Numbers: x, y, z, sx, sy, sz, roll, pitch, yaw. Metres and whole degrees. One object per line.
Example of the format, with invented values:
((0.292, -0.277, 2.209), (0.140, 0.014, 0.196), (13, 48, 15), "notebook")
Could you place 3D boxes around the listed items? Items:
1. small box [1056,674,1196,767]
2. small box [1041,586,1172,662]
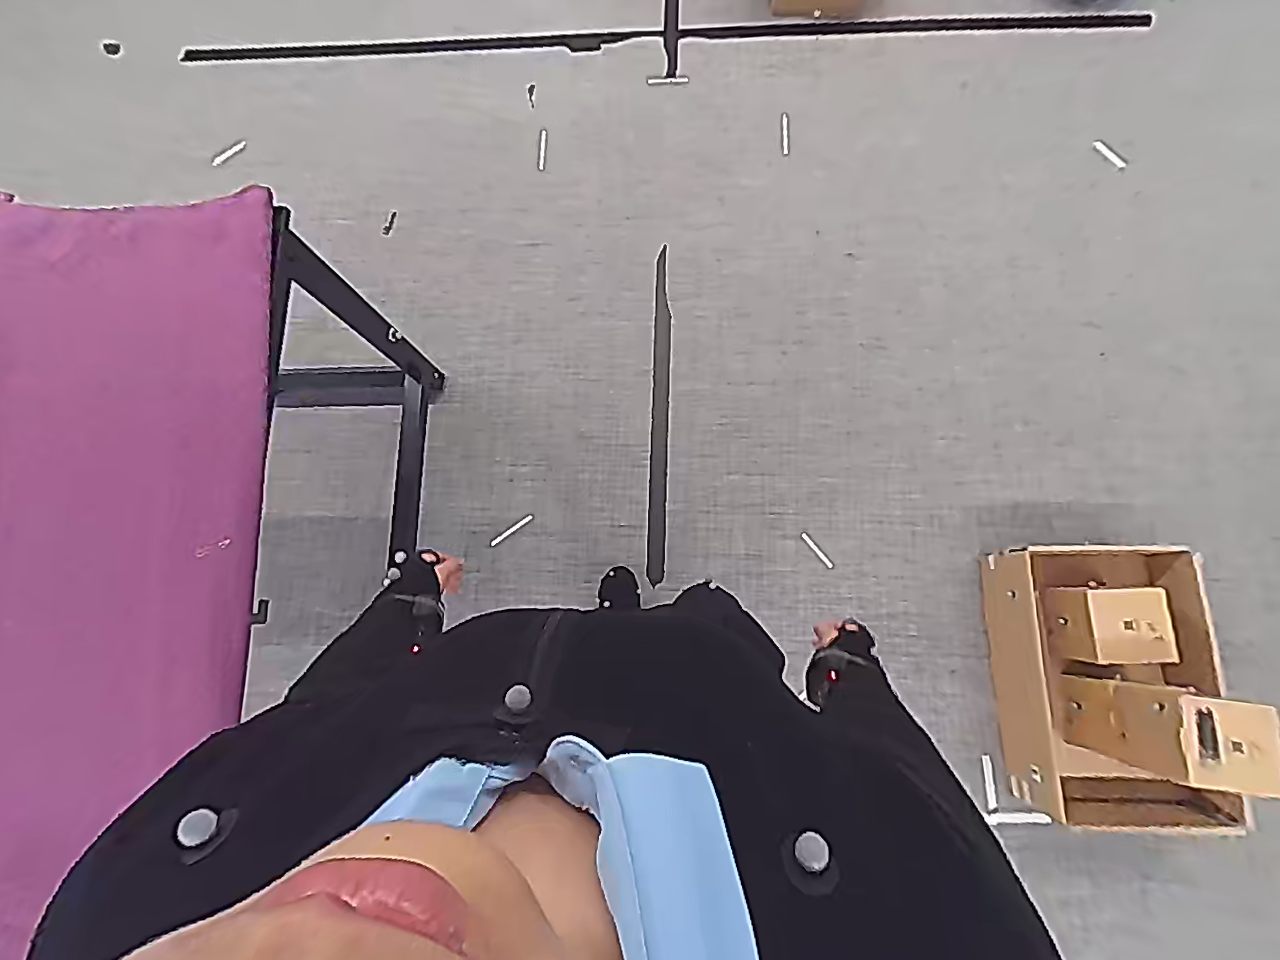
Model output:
((1.131, 0.556, 1.271), (0.179, 0.176, 0.168), (4, 76, 4), "small box")
((1.112, 0.344, 1.311), (0.179, 0.176, 0.168), (-2, 80, 2), "small box")
